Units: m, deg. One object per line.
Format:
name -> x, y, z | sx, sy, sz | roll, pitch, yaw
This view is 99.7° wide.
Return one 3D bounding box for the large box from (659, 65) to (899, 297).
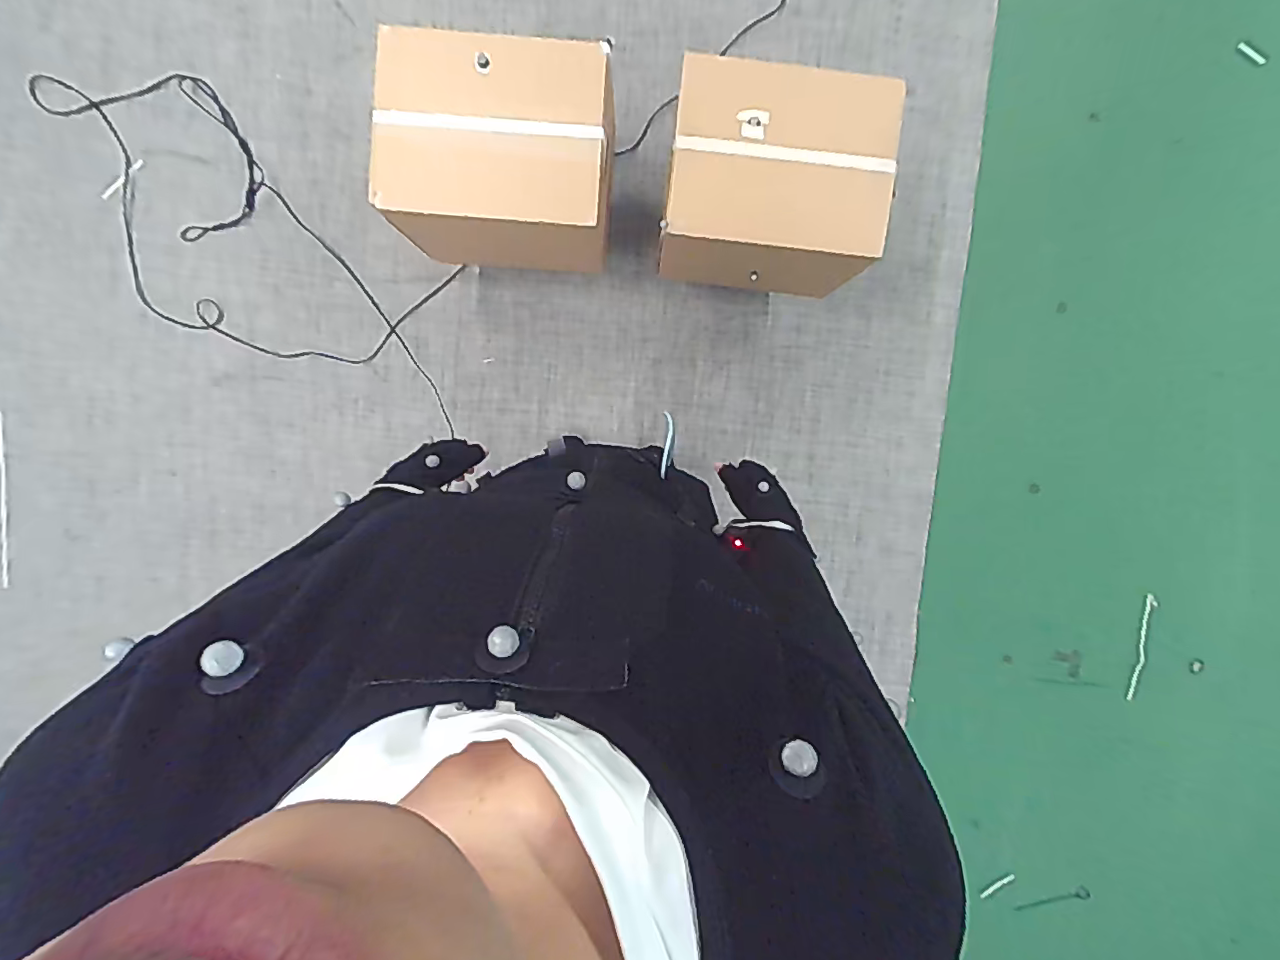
large box -> 0.261, -0.592, 1.140 | 0.408, 0.320, 0.320 | 7, 95, -1
